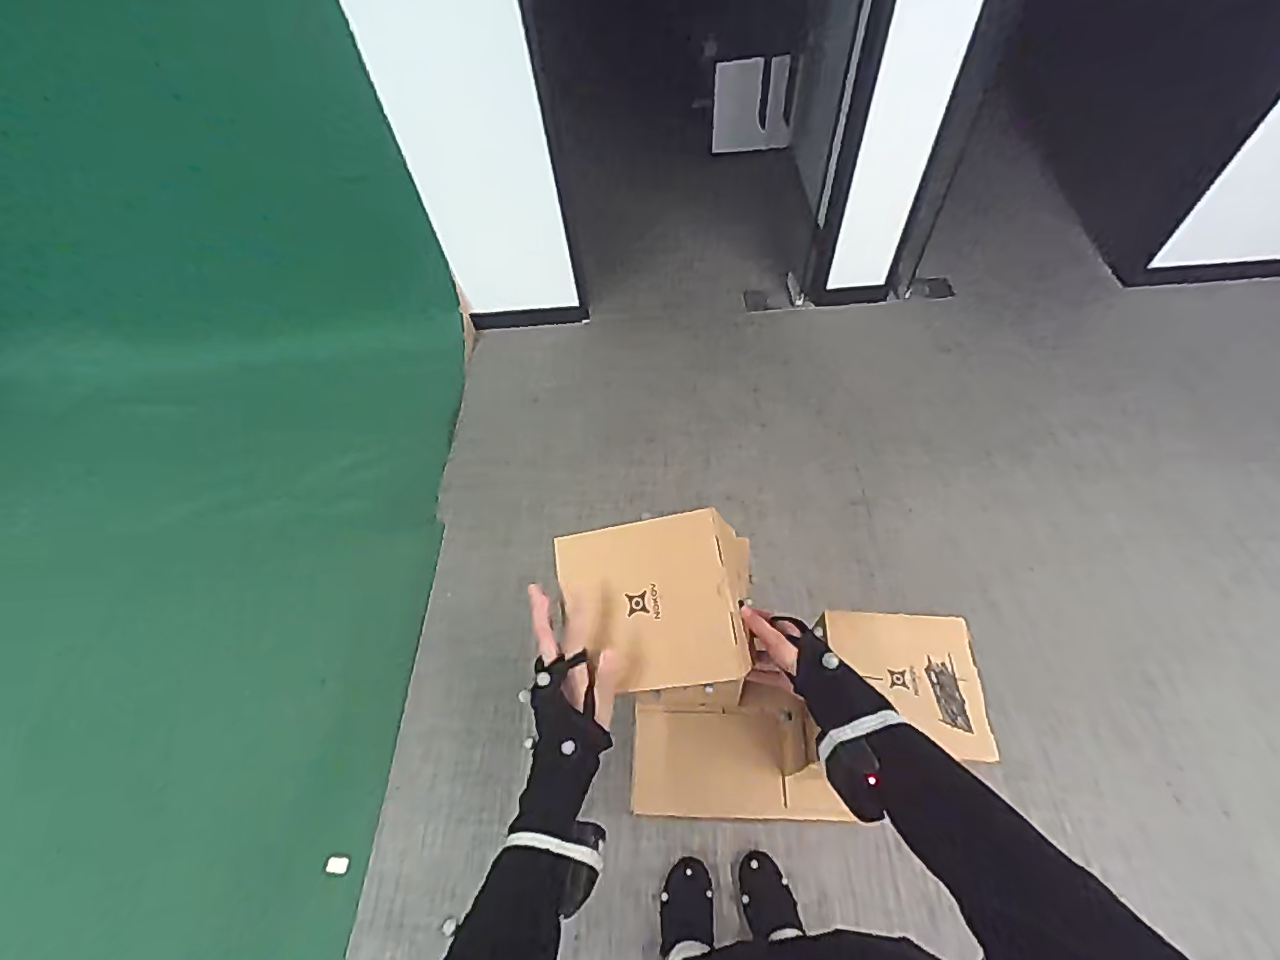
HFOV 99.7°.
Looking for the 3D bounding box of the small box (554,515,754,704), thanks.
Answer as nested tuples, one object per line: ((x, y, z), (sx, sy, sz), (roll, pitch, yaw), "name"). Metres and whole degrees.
((0.023, 0.148, 0.612), (0.179, 0.176, 0.168), (-13, 73, 13), "small box")

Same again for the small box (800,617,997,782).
((0.319, 0.292, 0.710), (0.179, 0.176, 0.168), (2, 56, 6), "small box")

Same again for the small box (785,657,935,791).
((0.326, 0.384, 0.844), (0.179, 0.176, 0.168), (1, 58, 6), "small box")

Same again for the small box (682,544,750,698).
((0.072, 0.204, 0.795), (0.168, 0.176, 0.179), (2, 57, 9), "small box")
